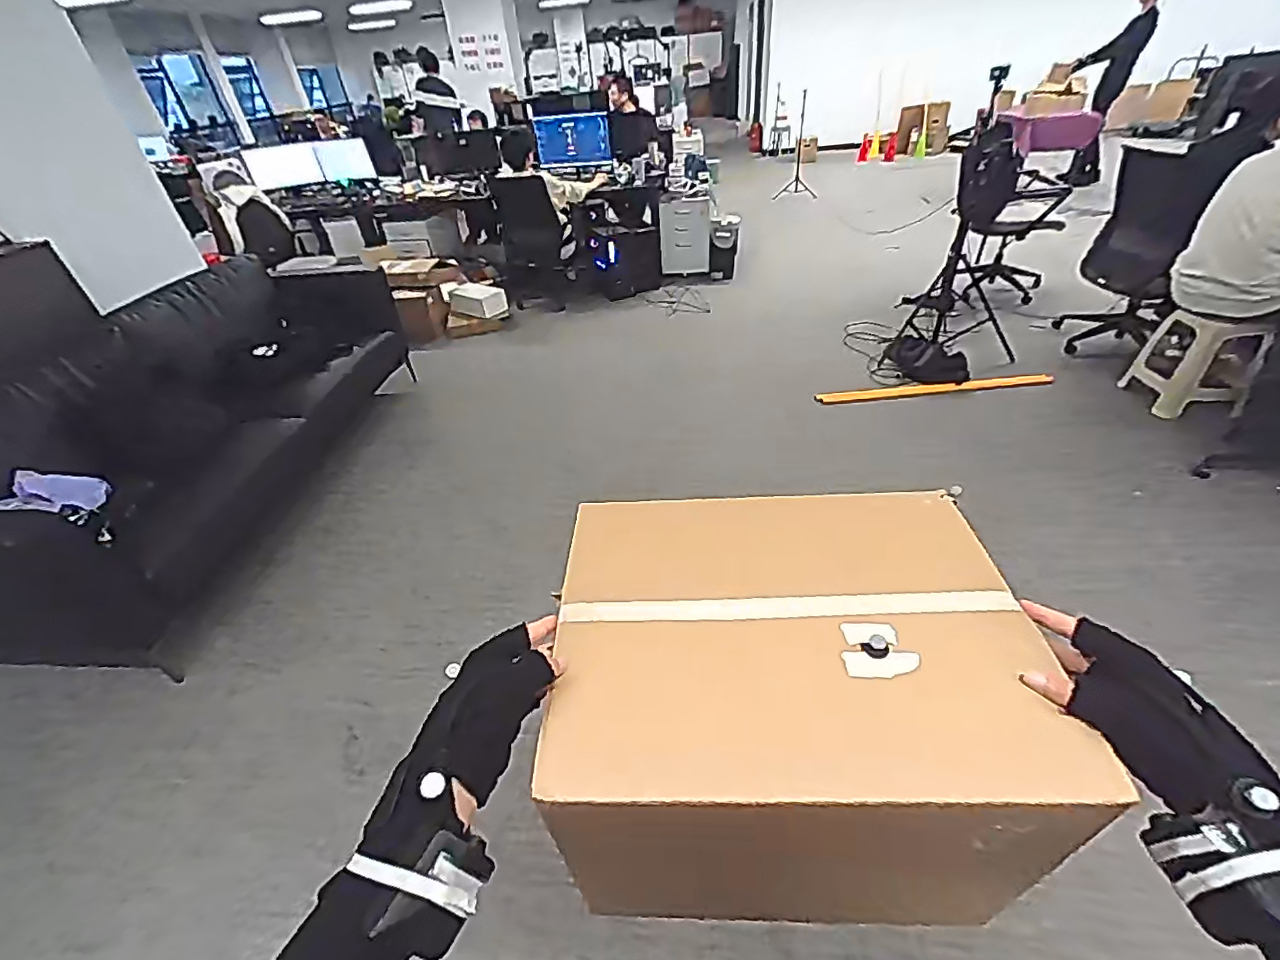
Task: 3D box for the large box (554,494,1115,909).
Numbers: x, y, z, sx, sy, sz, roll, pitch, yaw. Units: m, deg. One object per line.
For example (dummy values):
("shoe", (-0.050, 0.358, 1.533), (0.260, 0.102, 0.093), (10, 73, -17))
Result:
("large box", (0.143, 0.235, 0.589), (0.408, 0.320, 0.320), (-2, 40, 3))
